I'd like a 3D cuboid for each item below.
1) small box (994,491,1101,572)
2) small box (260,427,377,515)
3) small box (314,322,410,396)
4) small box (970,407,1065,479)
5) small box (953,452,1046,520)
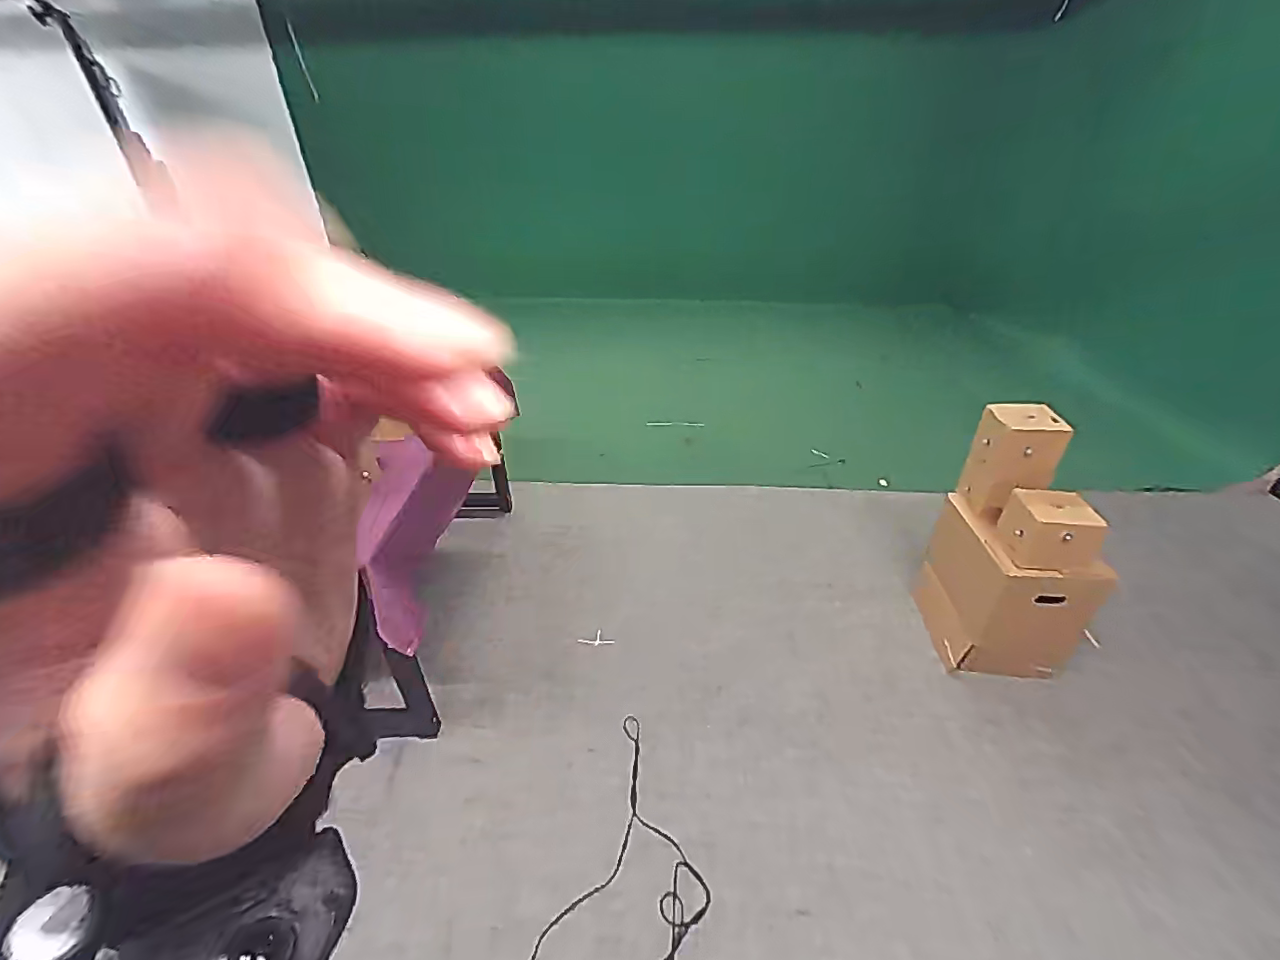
[{"bbox_3d":[1.163,0.150,1.565,0.179,0.176,0.168,4,33,6],"label":"small box"},{"bbox_3d":[-0.809,-0.023,1.382,0.179,0.176,0.168,0,34,2],"label":"small box"},{"bbox_3d":[-0.805,-0.356,1.590,0.179,0.176,0.168,-1,33,3],"label":"small box"},{"bbox_3d":[1.154,-0.115,1.674,0.179,0.176,0.168,0,35,6],"label":"small box"},{"bbox_3d":[1.164,0.022,1.764,0.179,0.176,0.168,0,34,4],"label":"small box"}]
